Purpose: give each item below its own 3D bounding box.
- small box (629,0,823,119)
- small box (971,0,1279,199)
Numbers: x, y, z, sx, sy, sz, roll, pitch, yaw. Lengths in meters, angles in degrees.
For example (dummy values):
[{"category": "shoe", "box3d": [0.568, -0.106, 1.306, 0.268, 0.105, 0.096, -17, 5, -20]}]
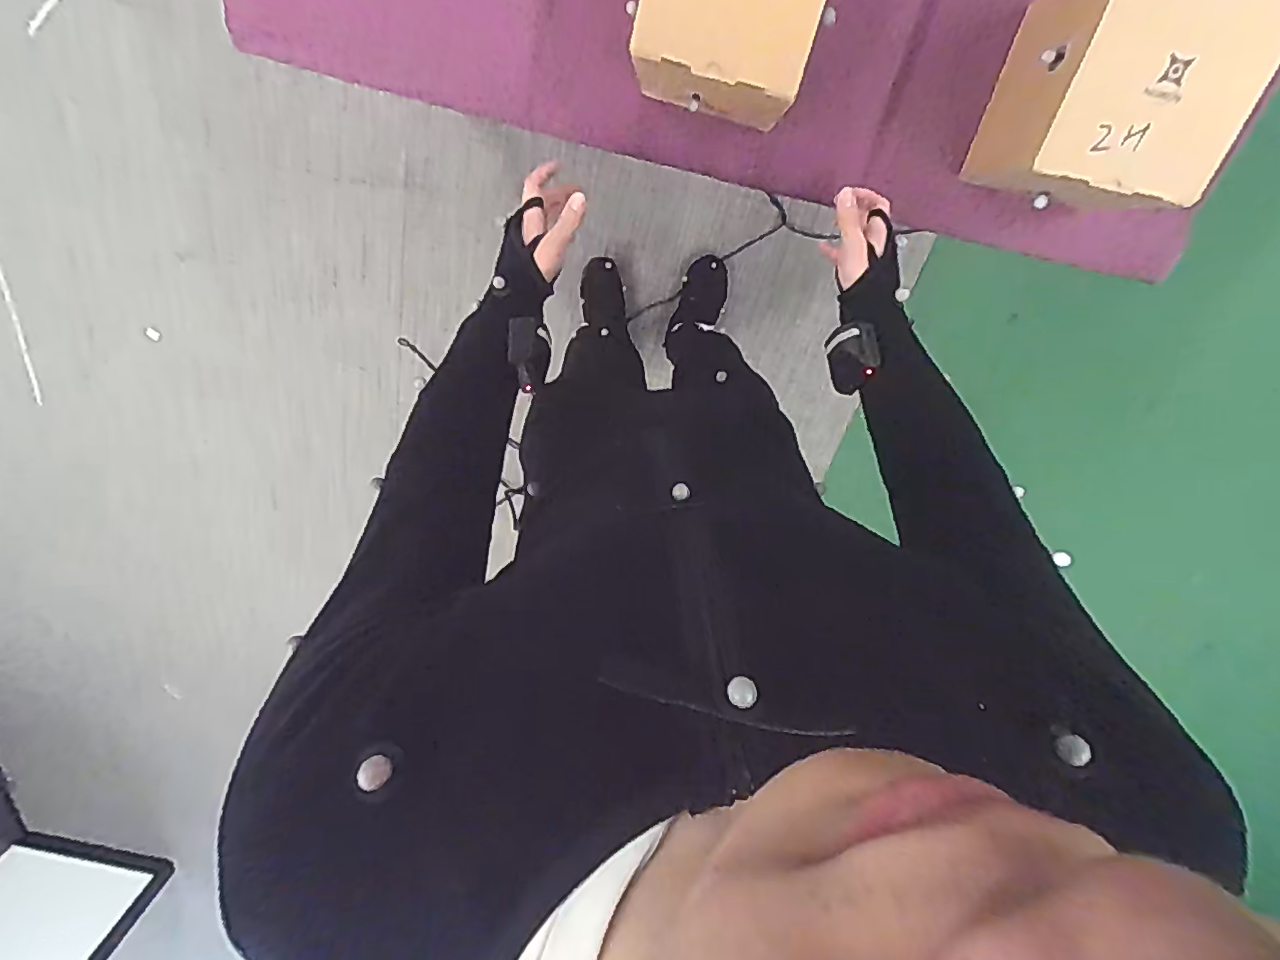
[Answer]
[{"category": "small box", "box3d": [0.094, -0.495, 0.543, 0.168, 0.176, 0.179, 15, 117, -2]}, {"category": "small box", "box3d": [0.479, -0.398, 0.547, 0.168, 0.176, 0.179, 13, 118, 1]}]
